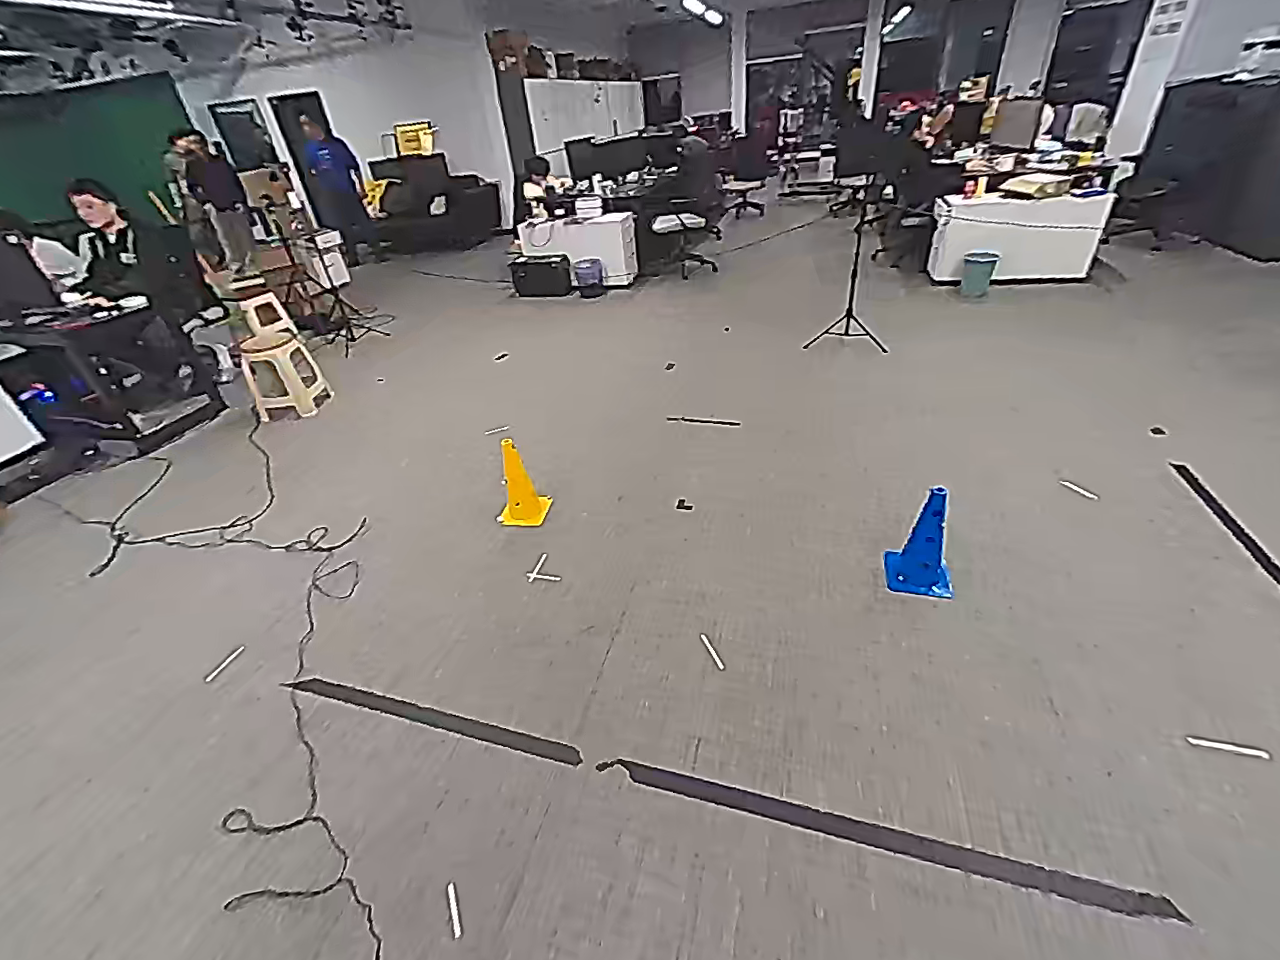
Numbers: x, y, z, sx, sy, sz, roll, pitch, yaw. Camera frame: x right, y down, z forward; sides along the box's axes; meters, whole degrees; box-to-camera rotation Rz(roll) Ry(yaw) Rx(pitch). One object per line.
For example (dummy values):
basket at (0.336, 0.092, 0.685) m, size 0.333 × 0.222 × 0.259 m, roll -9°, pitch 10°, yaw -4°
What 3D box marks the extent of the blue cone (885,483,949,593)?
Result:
blue cone at (0.936, 0.178, 1.769) m, size 0.193 × 0.380 × 0.192 m, roll 6°, pitch 35°, yaw 17°
